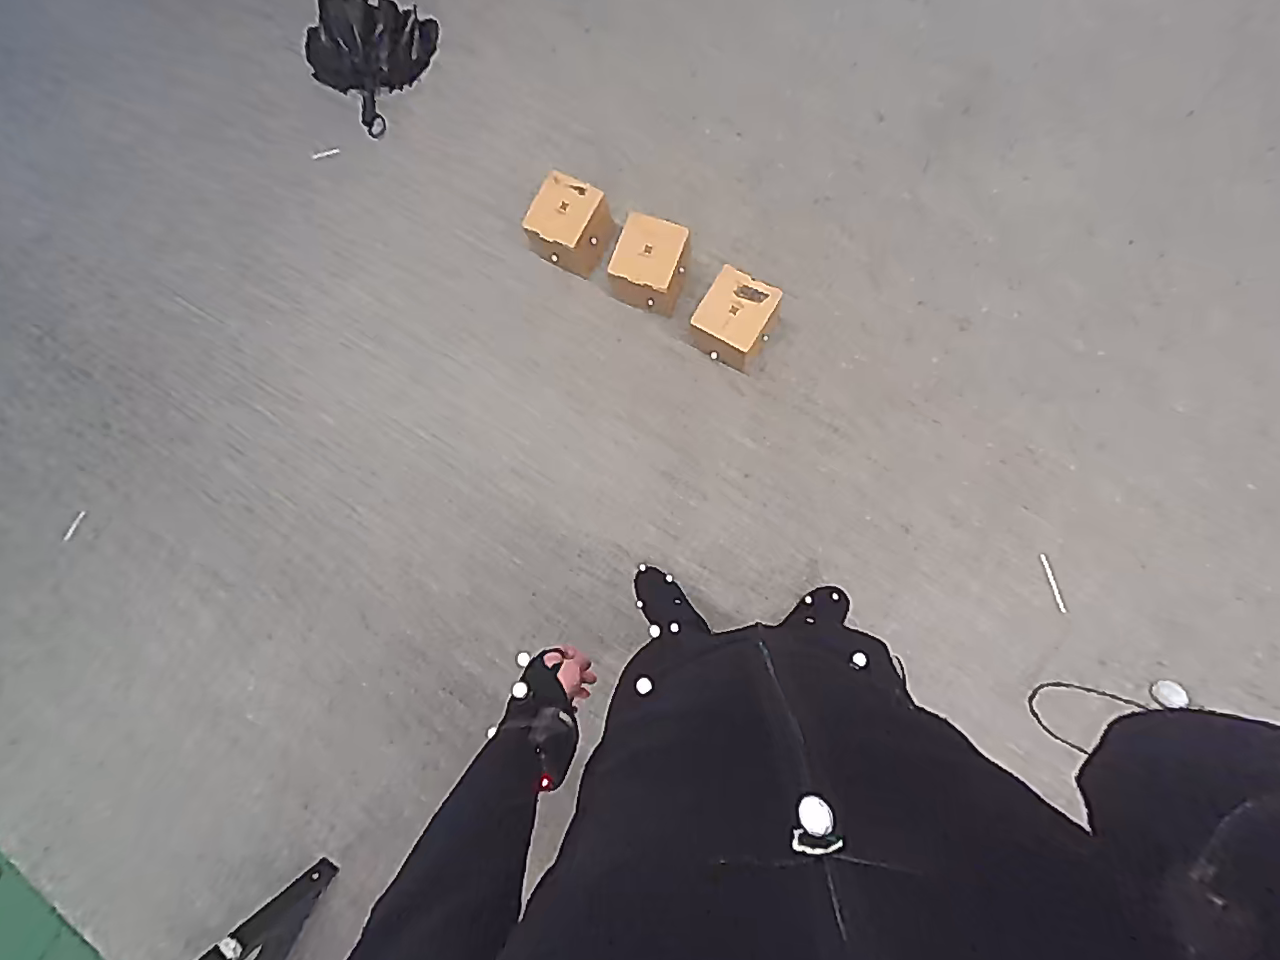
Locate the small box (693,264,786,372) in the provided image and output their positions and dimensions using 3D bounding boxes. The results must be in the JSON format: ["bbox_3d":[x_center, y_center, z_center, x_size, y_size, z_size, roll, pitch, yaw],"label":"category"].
[{"bbox_3d":[0.251,-0.408,1.384,0.168,0.176,0.179,32,89,11],"label":"small box"}]

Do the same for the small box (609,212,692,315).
[{"bbox_3d":[0.036,-0.567,1.439,0.168,0.176,0.179,20,85,9],"label":"small box"}]

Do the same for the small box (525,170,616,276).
[{"bbox_3d":[-0.181,-0.696,1.486,0.168,0.176,0.179,29,88,11],"label":"small box"}]
